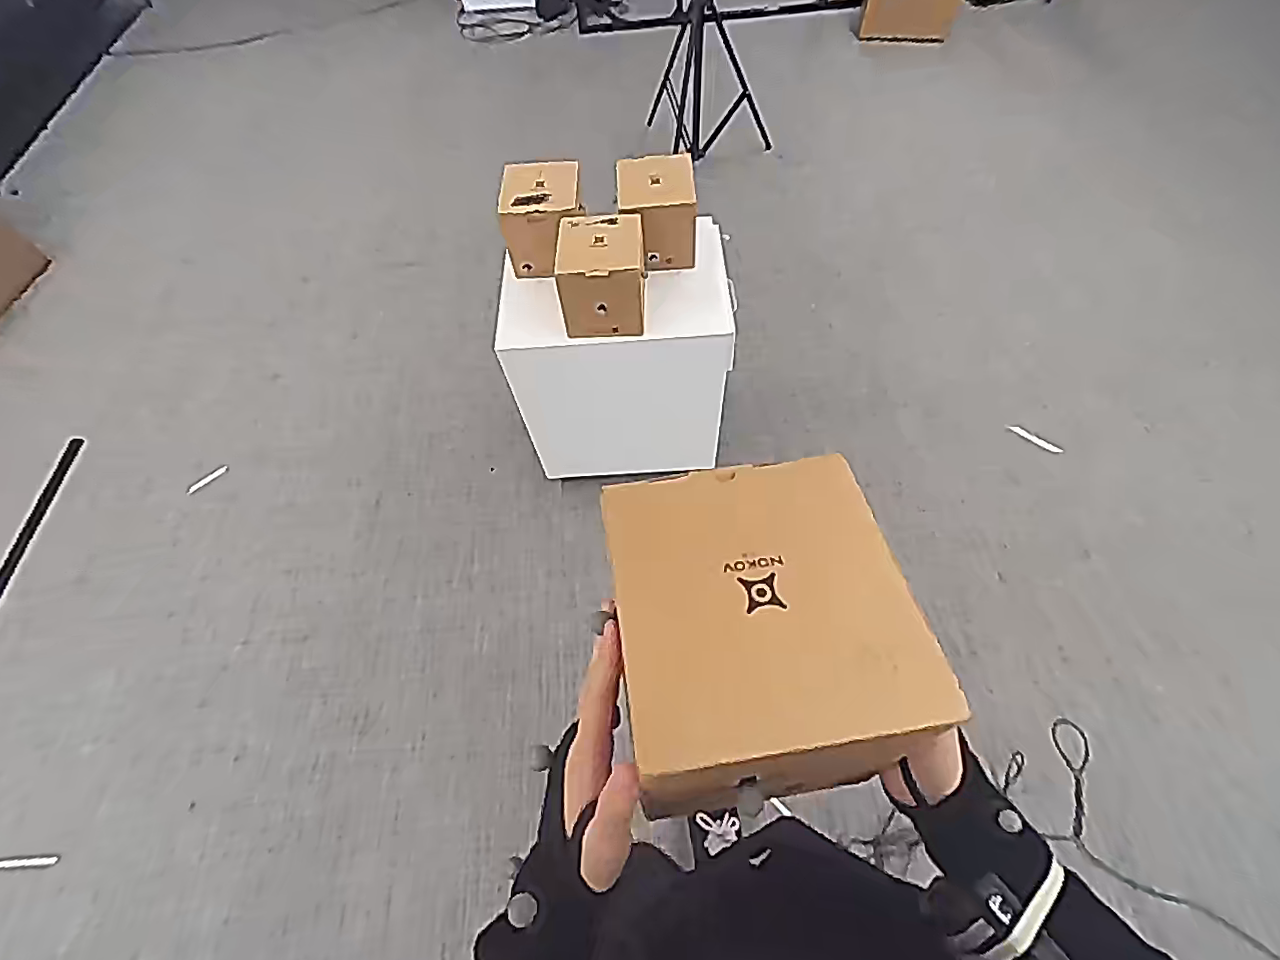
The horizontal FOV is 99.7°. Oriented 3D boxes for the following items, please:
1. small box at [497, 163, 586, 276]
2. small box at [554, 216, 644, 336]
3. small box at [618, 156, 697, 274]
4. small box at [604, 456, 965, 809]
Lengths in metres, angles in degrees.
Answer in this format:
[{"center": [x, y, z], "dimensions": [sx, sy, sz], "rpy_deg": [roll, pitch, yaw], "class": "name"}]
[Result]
[{"center": [-0.212, -0.580, 1.223], "dimensions": [0.168, 0.176, 0.179], "rpy_deg": [-2, 60, 2], "class": "small box"}, {"center": [-0.077, -0.416, 1.122], "dimensions": [0.168, 0.176, 0.179], "rpy_deg": [-1, 60, 3], "class": "small box"}, {"center": [0.038, -0.591, 1.217], "dimensions": [0.168, 0.176, 0.179], "rpy_deg": [-4, 62, 3], "class": "small box"}, {"center": [0.071, 0.111, 0.372], "dimensions": [0.168, 0.176, 0.179], "rpy_deg": [-8, 51, -5], "class": "small box"}]
